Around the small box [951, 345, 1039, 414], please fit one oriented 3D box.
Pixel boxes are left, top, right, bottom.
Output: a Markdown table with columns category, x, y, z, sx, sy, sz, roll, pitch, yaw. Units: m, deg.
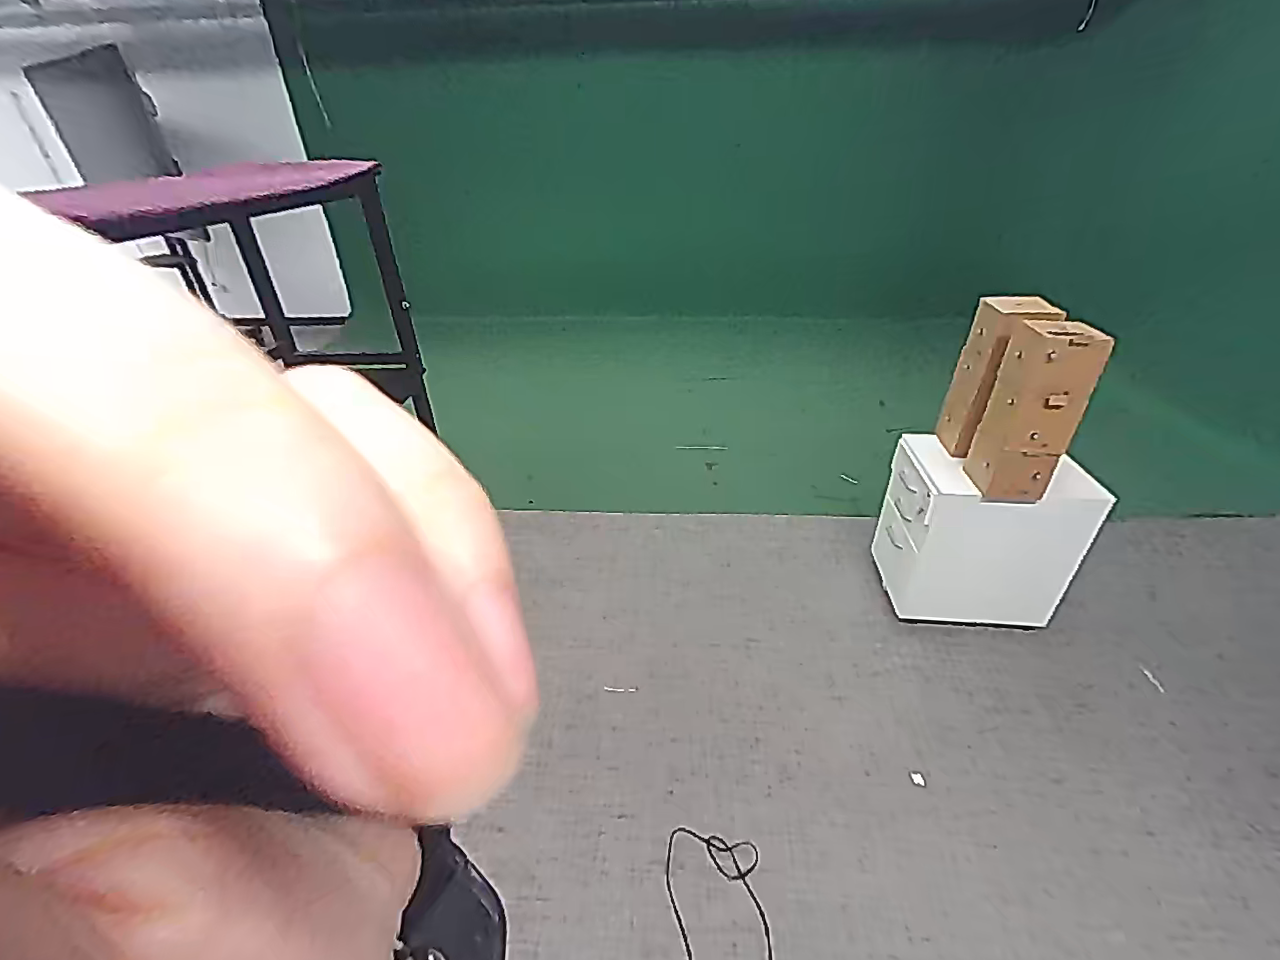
| category | x | y | z | sx | sy | sz | roll | pitch | yaw |
| --- | --- | --- | --- | --- | --- | --- | --- | --- | --- |
| small box | 1.153 | -0.331 | 1.774 | 0.168 | 0.176 | 0.179 | 2 | 35 | 5 |

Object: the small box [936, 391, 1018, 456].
| category | x | y | z | sx | sy | sz | roll | pitch | yaw |
| --- | --- | --- | --- | --- | --- | --- | --- | --- | --- |
| small box | 1.151 | -0.194 | 1.865 | 0.168 | 0.176 | 0.179 | 2 | 34 | 6 |

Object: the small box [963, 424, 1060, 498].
| category | x | y | z | sx | sy | sz | roll | pitch | yaw |
| --- | --- | --- | --- | --- | --- | --- | --- | --- | --- |
| small box | 1.130 | -0.058 | 1.660 | 0.168 | 0.176 | 0.179 | 3 | 31 | 4 |

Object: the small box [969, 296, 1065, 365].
| category | x | y | z | sx | sy | sz | roll | pitch | yaw |
| --- | --- | --- | --- | --- | --- | --- | --- | --- | --- |
| small box | 1.154 | -0.465 | 1.677 | 0.179 | 0.176 | 0.168 | 2 | 35 | 5 |
